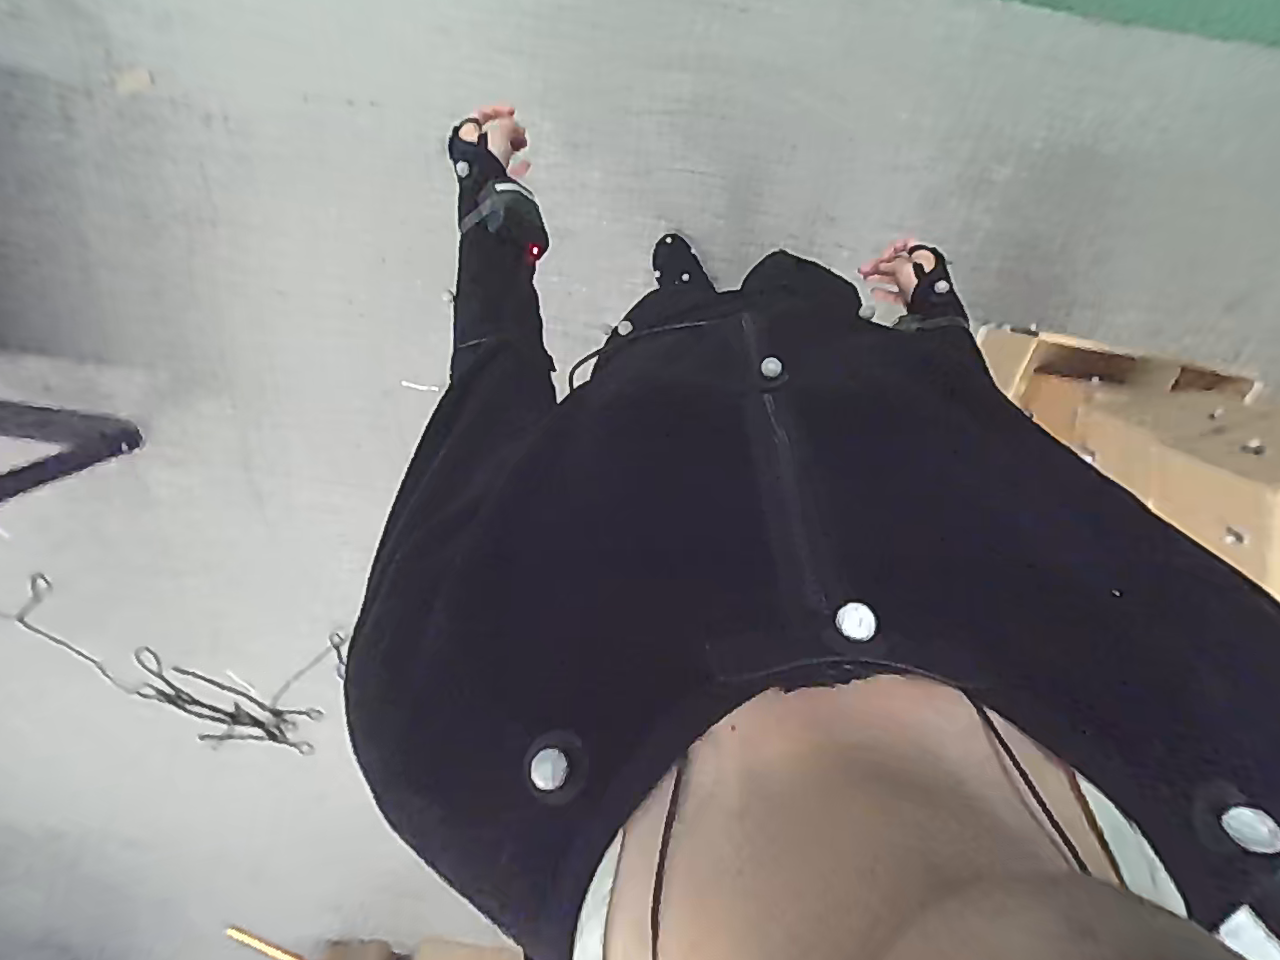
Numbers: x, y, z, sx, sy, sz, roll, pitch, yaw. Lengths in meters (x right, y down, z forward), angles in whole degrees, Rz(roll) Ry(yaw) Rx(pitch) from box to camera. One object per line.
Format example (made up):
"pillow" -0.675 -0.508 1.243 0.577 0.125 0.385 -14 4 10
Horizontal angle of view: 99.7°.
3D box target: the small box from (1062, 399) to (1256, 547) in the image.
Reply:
"small box" 0.791 -0.018 0.811 0.179 0.176 0.168 -6 112 5

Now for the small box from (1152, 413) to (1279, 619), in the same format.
"small box" 0.776 0.031 0.656 0.168 0.176 0.179 -19 111 10
